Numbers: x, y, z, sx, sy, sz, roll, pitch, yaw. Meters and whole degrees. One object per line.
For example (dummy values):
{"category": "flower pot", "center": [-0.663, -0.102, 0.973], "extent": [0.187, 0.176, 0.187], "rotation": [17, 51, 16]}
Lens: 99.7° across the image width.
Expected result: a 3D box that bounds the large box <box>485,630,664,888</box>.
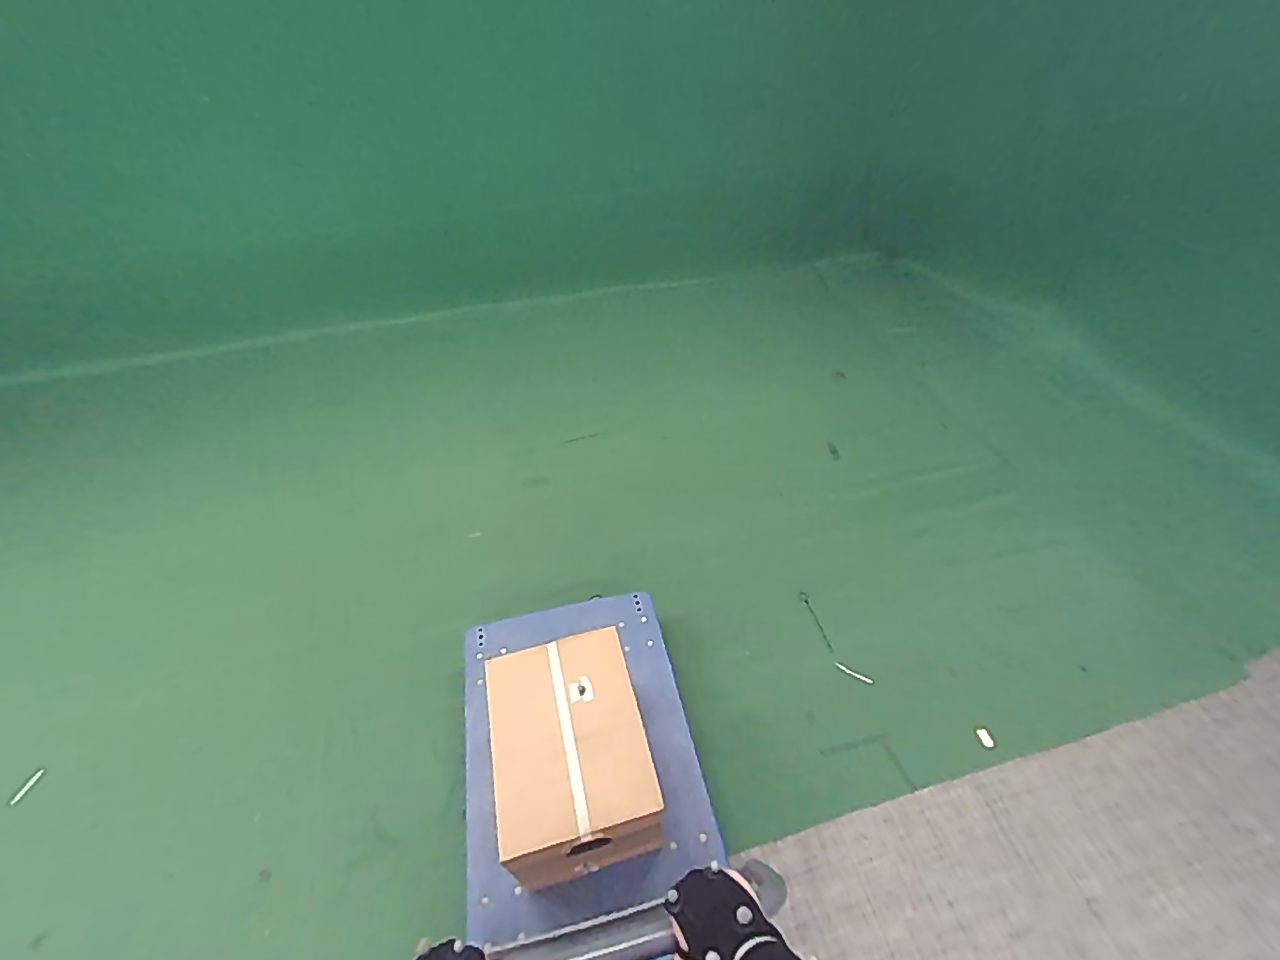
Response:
{"category": "large box", "center": [-0.150, 0.630, 1.243], "extent": [0.320, 0.320, 0.408], "rotation": [-12, 46, -10]}
